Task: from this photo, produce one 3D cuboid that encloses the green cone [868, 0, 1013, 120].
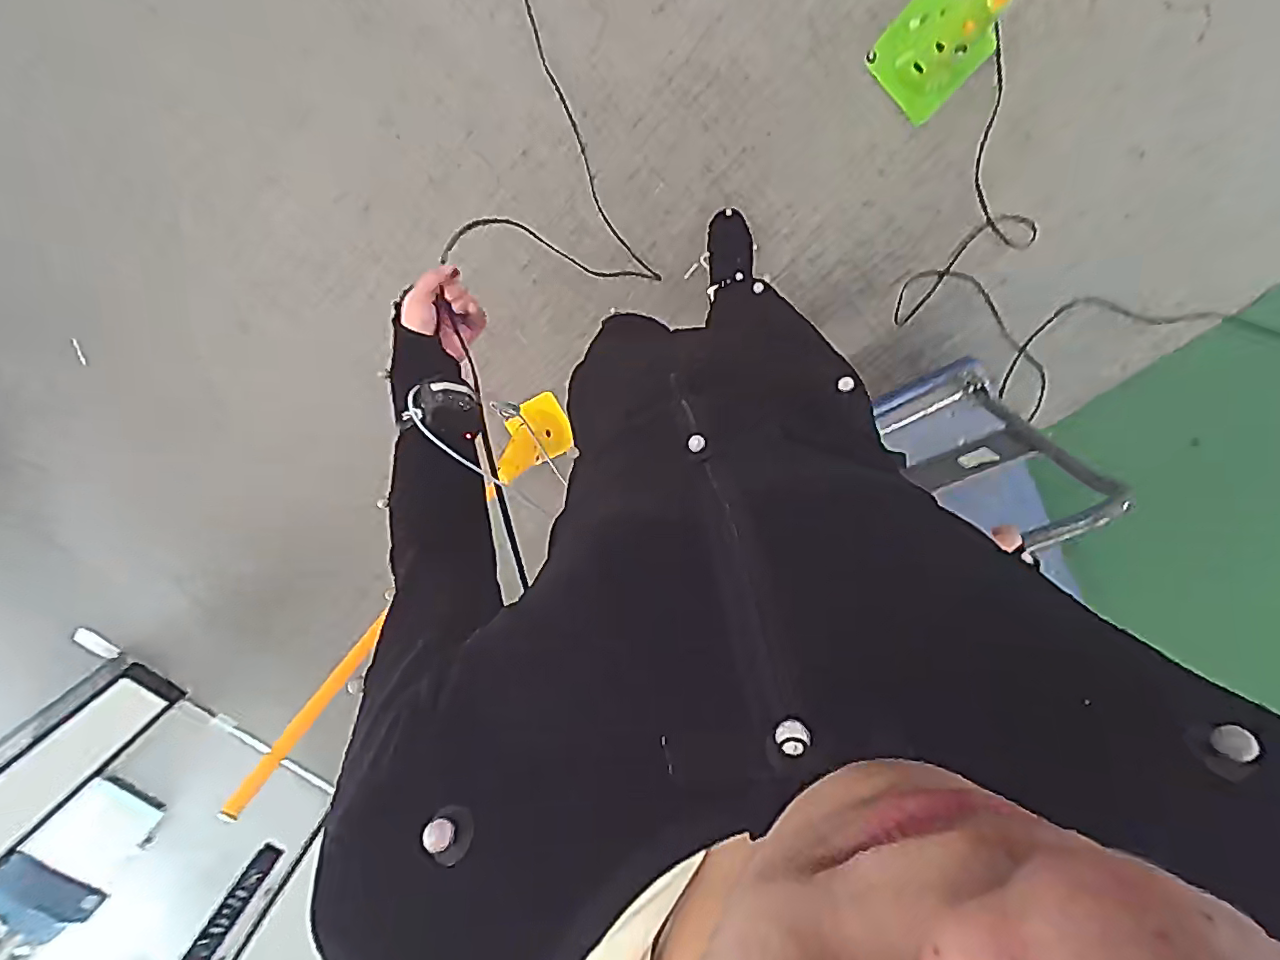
[{"bbox_3d":[0.595,-0.838,0.990,0.200,0.368,0.202,39,115,-12],"label":"green cone"}]
